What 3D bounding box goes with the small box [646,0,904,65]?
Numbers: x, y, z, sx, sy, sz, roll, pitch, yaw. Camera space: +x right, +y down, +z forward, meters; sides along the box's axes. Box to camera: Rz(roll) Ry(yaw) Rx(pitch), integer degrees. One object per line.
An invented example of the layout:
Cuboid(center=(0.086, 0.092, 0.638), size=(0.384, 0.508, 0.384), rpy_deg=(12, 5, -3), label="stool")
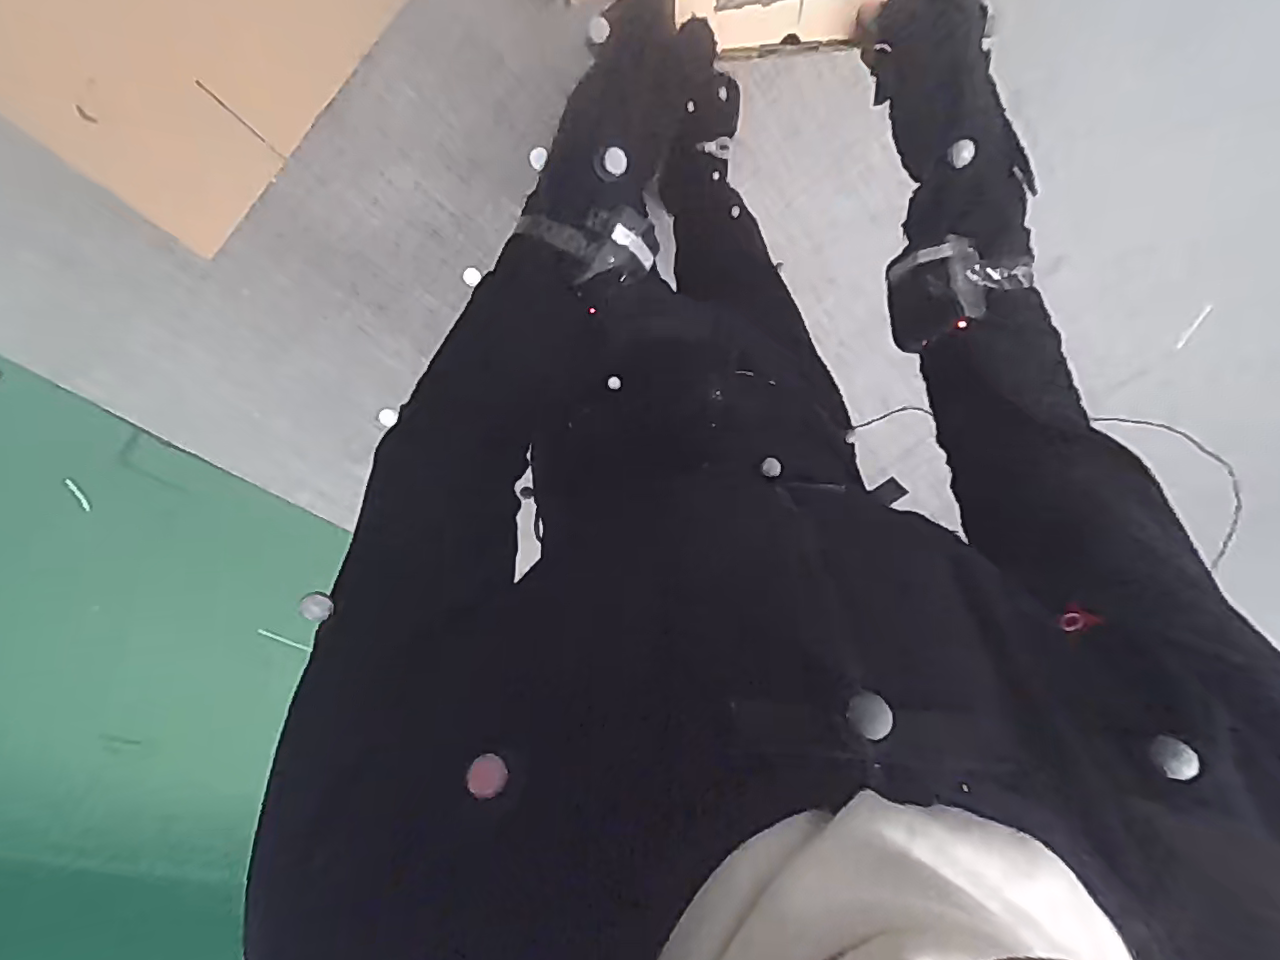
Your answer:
Cuboid(center=(0.091, -0.422, 0.400), size=(0.168, 0.176, 0.179), rpy_deg=(-7, 125, -2), label="small box")
